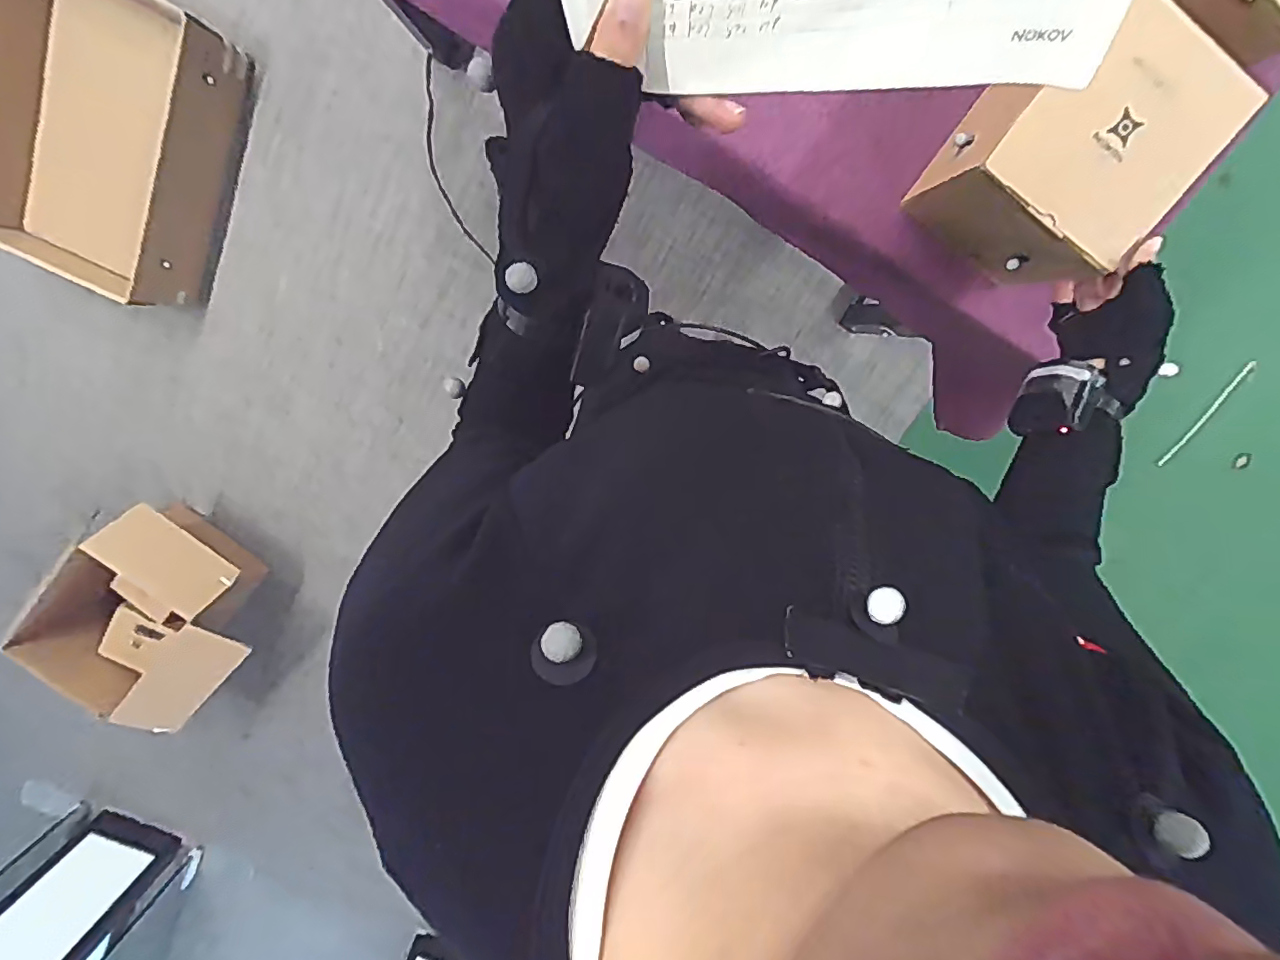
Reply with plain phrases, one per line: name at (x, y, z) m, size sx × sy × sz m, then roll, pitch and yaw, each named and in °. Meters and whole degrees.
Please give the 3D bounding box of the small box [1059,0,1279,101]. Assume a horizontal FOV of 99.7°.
small box at (0.532, -0.494, 0.485) m, size 0.168 × 0.176 × 0.179 m, roll 36°, pitch 105°, yaw -9°
